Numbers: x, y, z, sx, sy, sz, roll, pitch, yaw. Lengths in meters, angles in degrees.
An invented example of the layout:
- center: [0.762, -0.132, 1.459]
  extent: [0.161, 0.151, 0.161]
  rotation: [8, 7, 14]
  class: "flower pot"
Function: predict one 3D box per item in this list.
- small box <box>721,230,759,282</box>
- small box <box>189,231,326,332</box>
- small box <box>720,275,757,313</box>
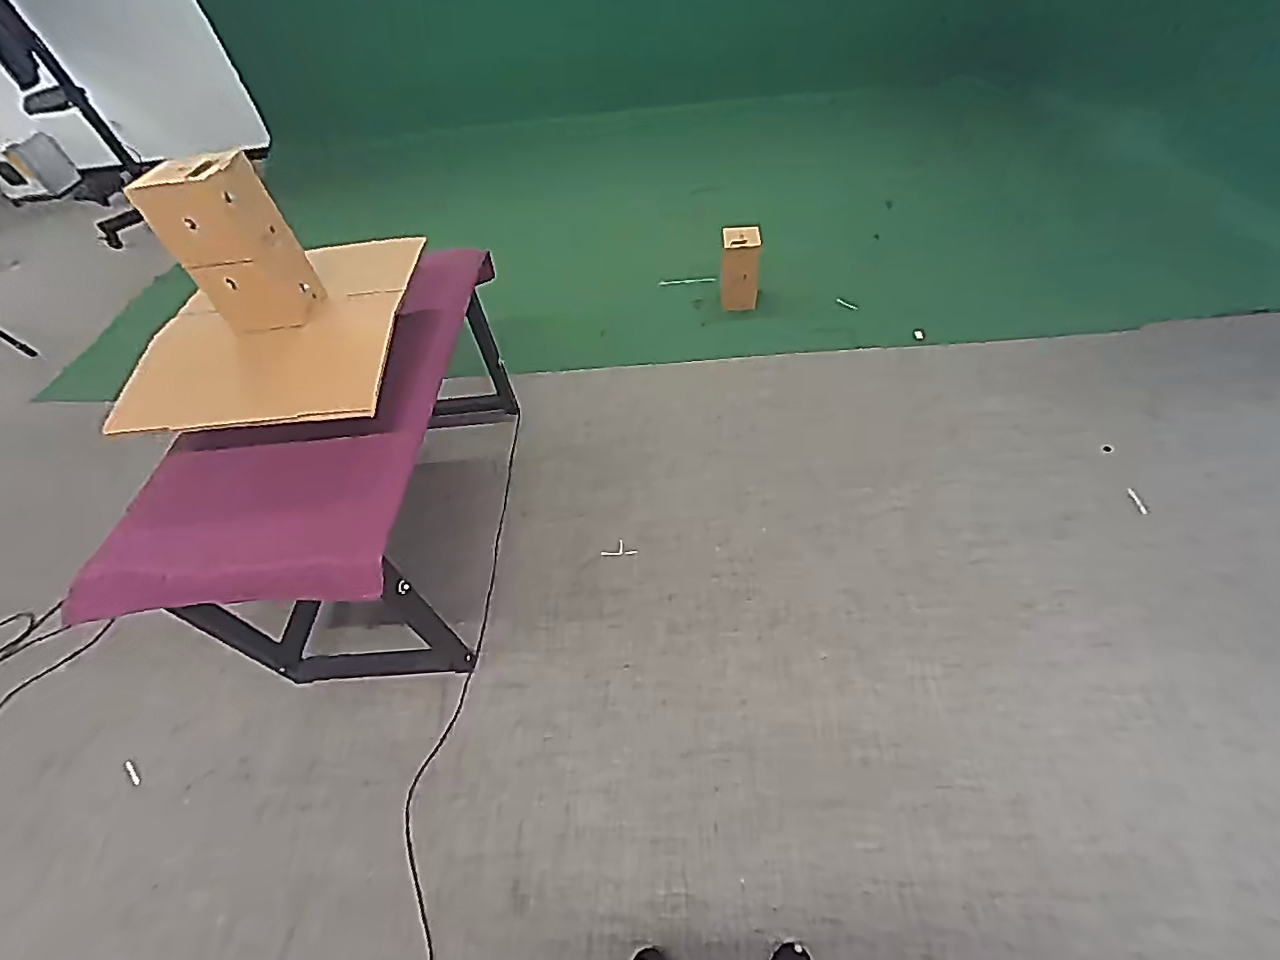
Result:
- center: [0.469, -1.050, 2.543]
  extent: [0.168, 0.176, 0.179]
  rotation: [0, 51, 5]
  class: "small box"
- center: [-0.903, -0.472, 1.296]
  extent: [0.179, 0.176, 0.168]
  rotation: [-4, 49, 3]
  class: "small box"
- center: [0.484, -0.948, 2.672]
  extent: [0.168, 0.176, 0.179]
  rotation: [-1, 52, 5]
  class: "small box"
